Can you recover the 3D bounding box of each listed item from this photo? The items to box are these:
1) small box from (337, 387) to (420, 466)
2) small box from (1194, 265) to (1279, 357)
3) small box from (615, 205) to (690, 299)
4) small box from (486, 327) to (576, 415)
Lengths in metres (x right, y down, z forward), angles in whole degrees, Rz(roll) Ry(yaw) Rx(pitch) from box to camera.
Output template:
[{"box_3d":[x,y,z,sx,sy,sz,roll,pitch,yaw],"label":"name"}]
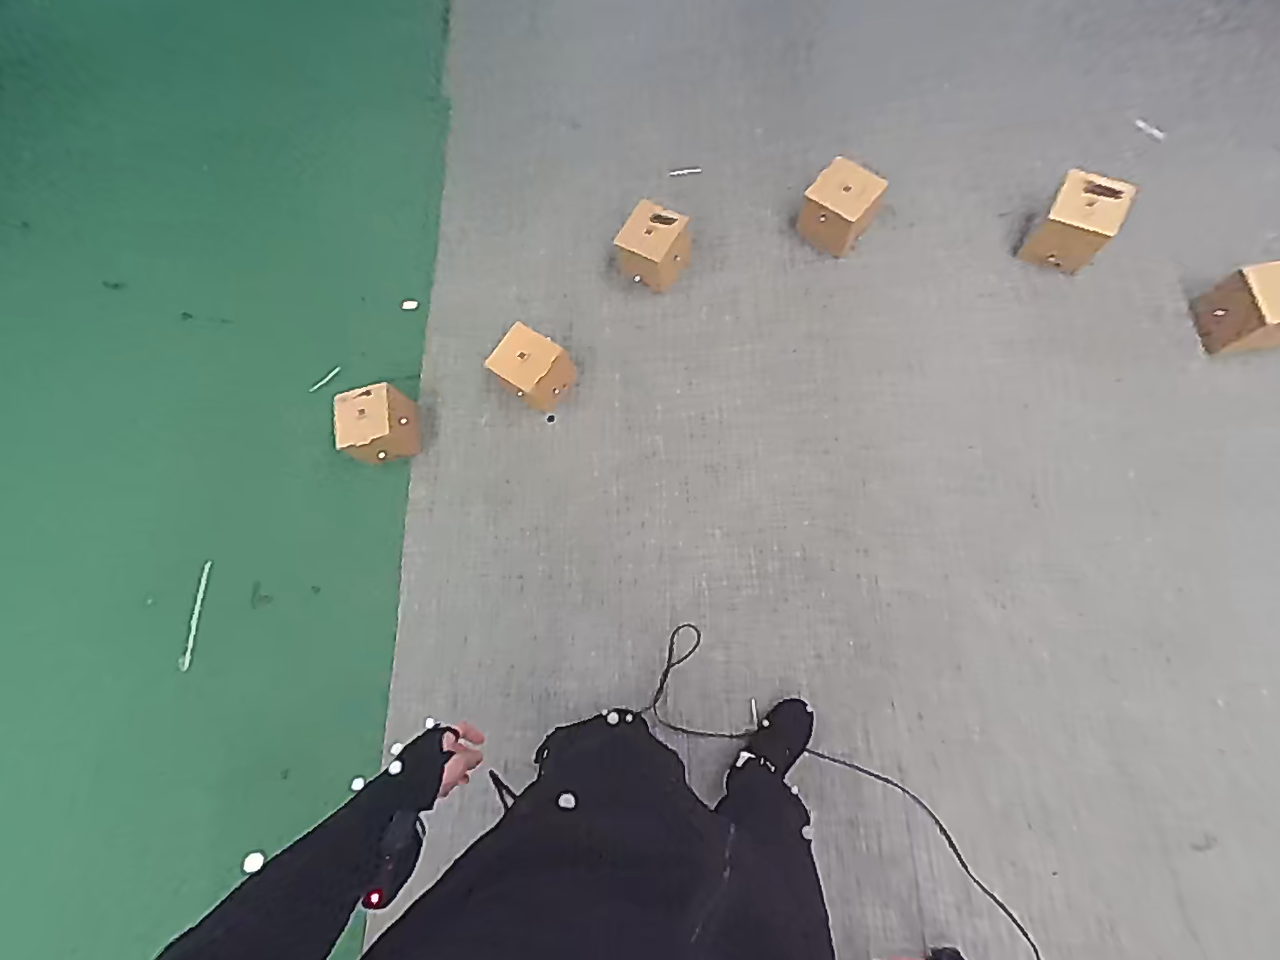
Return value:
[{"box_3d":[-0.788,-0.153,1.643,0.168,0.176,0.179,-13,73,4],"label":"small box"},{"box_3d":[1.587,-0.429,1.384,0.179,0.176,0.168,-6,74,6],"label":"small box"},{"box_3d":[0.044,-0.704,1.683,0.168,0.176,0.179,29,80,15],"label":"small box"},{"box_3d":[-0.321,-0.320,1.626,0.179,0.176,0.168,33,81,14],"label":"small box"}]
